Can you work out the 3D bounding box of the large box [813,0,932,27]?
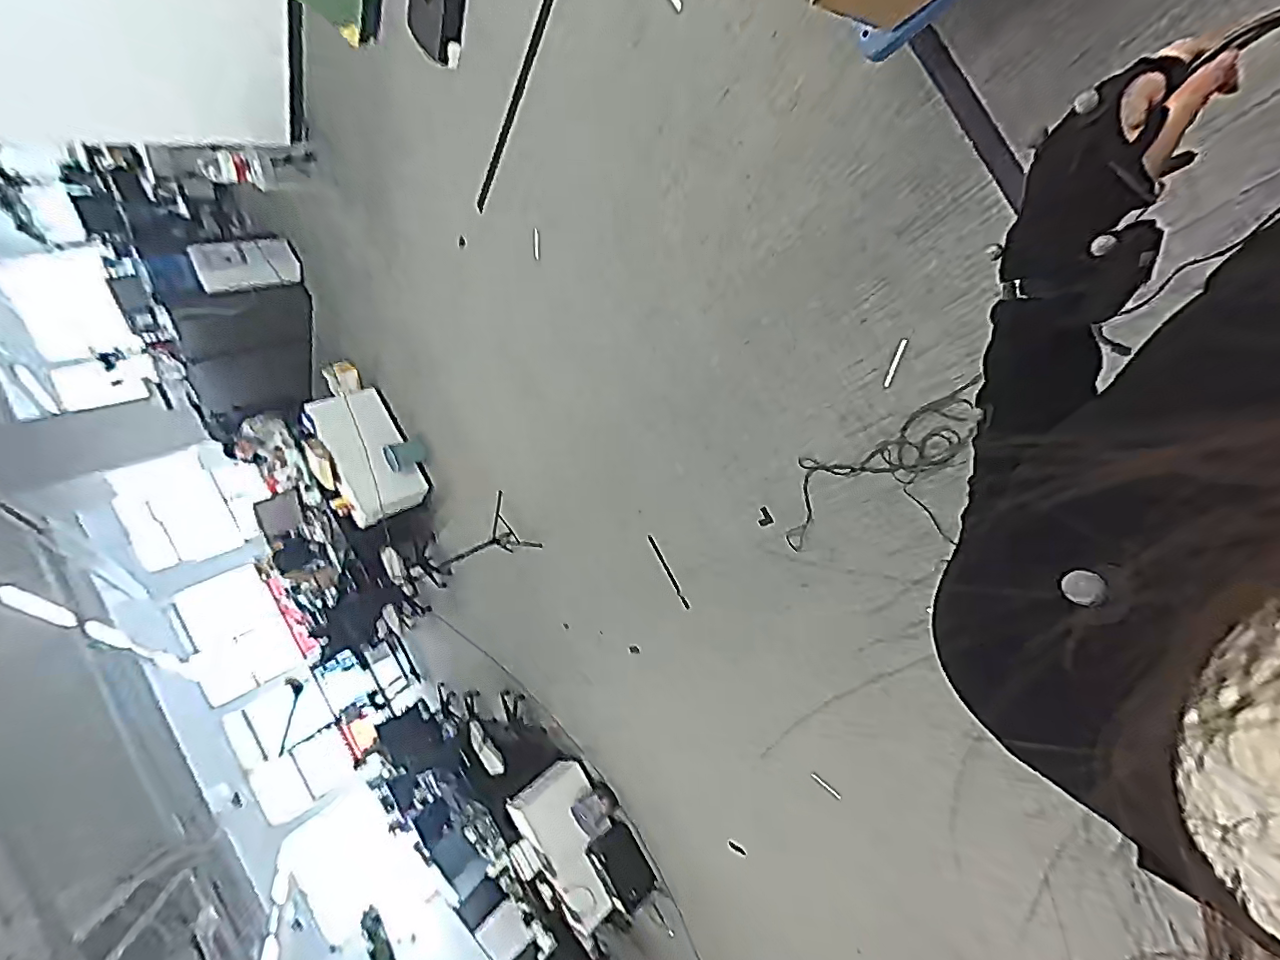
[{"bbox_3d":[0.465,-0.991,0.798,0.408,0.320,0.320,-8,104,52],"label":"large box"}]
